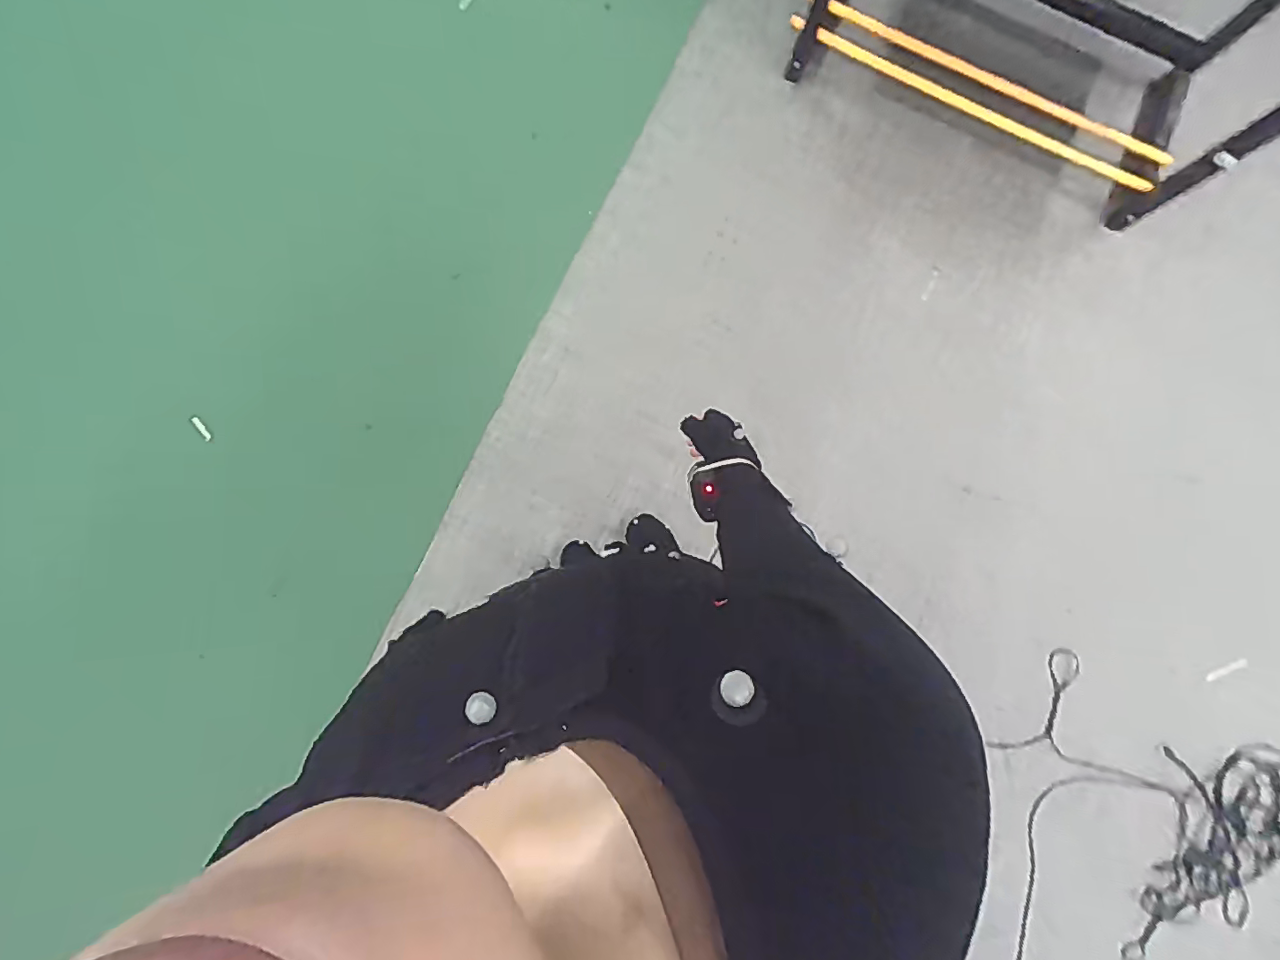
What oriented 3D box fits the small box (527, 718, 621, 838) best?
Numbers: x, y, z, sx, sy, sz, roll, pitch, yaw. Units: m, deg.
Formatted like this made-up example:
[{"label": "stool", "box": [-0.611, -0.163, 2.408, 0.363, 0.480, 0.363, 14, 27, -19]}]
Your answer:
[{"label": "small box", "box": [-0.156, 0.726, 1.338, 0.168, 0.176, 0.179, 27, 82, 0]}]
